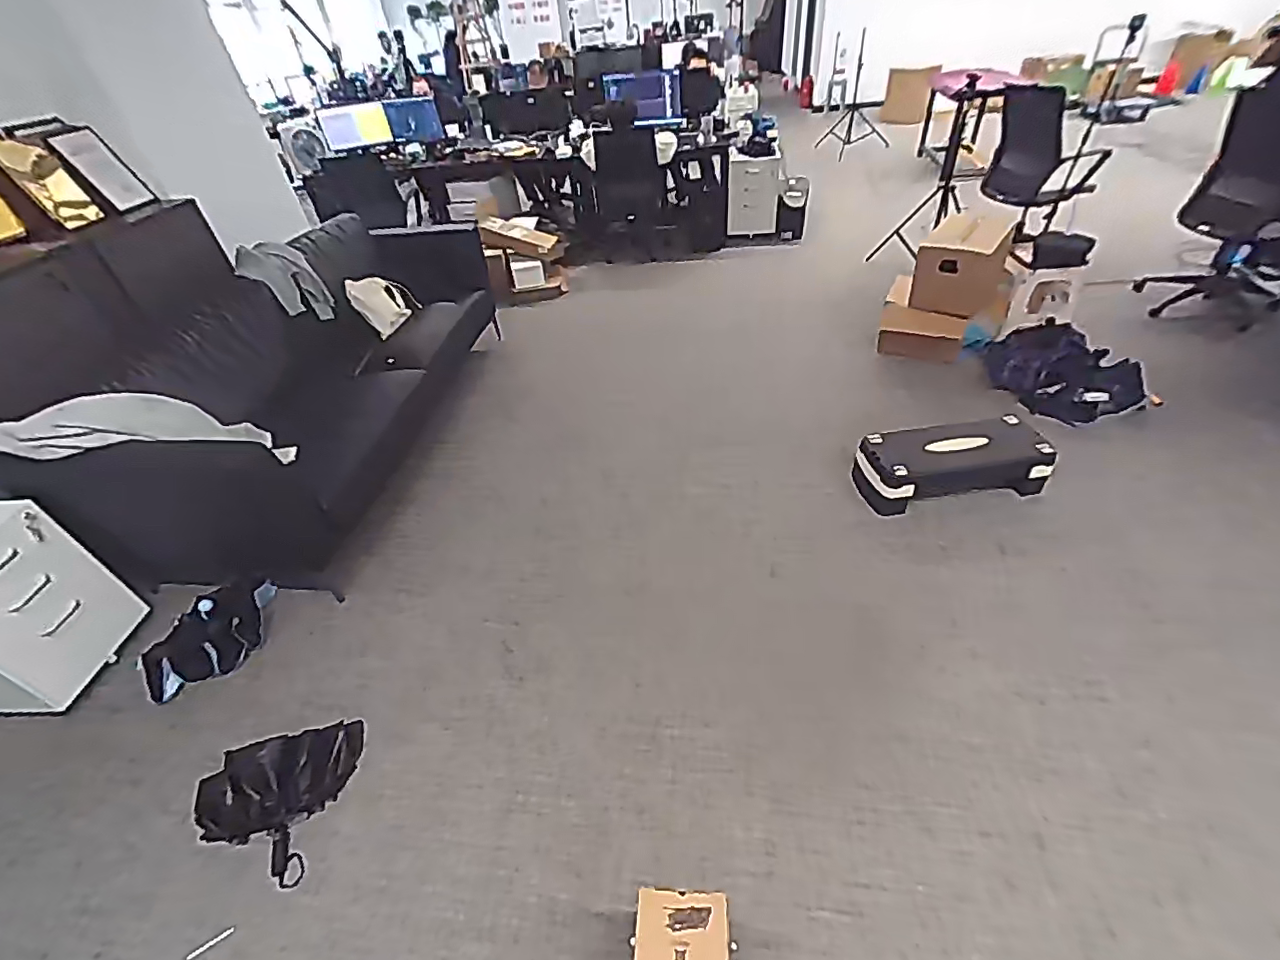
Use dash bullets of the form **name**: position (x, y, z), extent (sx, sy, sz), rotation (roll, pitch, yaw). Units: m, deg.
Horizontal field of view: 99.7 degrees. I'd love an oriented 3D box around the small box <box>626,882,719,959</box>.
- **small box**: position (0.064, 0.884, 1.009), extent (0.168, 0.176, 0.179), rotation (-1, 42, 7)
